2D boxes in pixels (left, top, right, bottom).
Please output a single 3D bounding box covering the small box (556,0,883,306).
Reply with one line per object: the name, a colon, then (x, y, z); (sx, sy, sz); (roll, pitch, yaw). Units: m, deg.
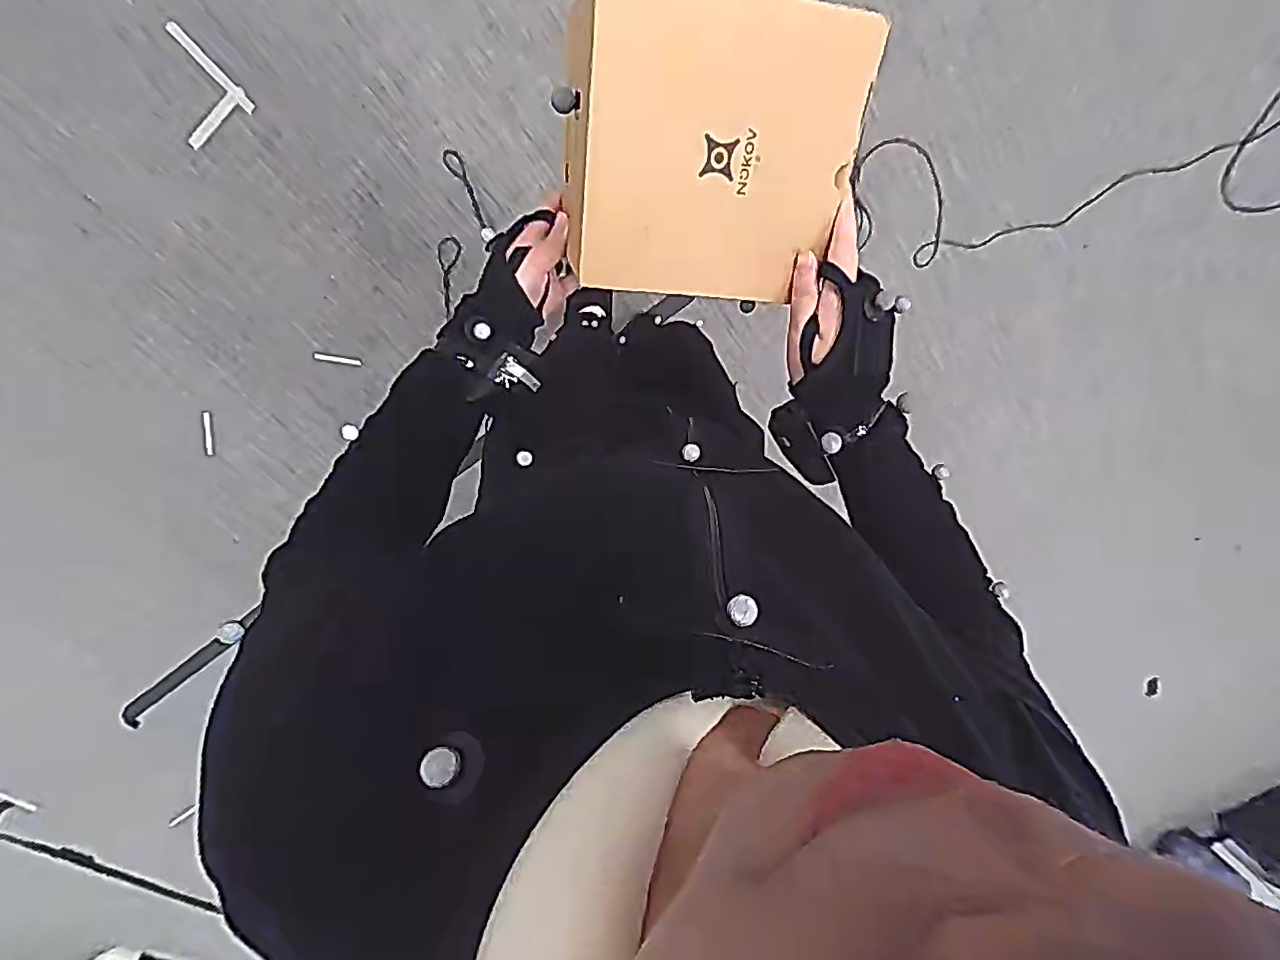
small box: (0.033, -0.236, 0.400); (0.179, 0.176, 0.168); (-1, 120, -14)
